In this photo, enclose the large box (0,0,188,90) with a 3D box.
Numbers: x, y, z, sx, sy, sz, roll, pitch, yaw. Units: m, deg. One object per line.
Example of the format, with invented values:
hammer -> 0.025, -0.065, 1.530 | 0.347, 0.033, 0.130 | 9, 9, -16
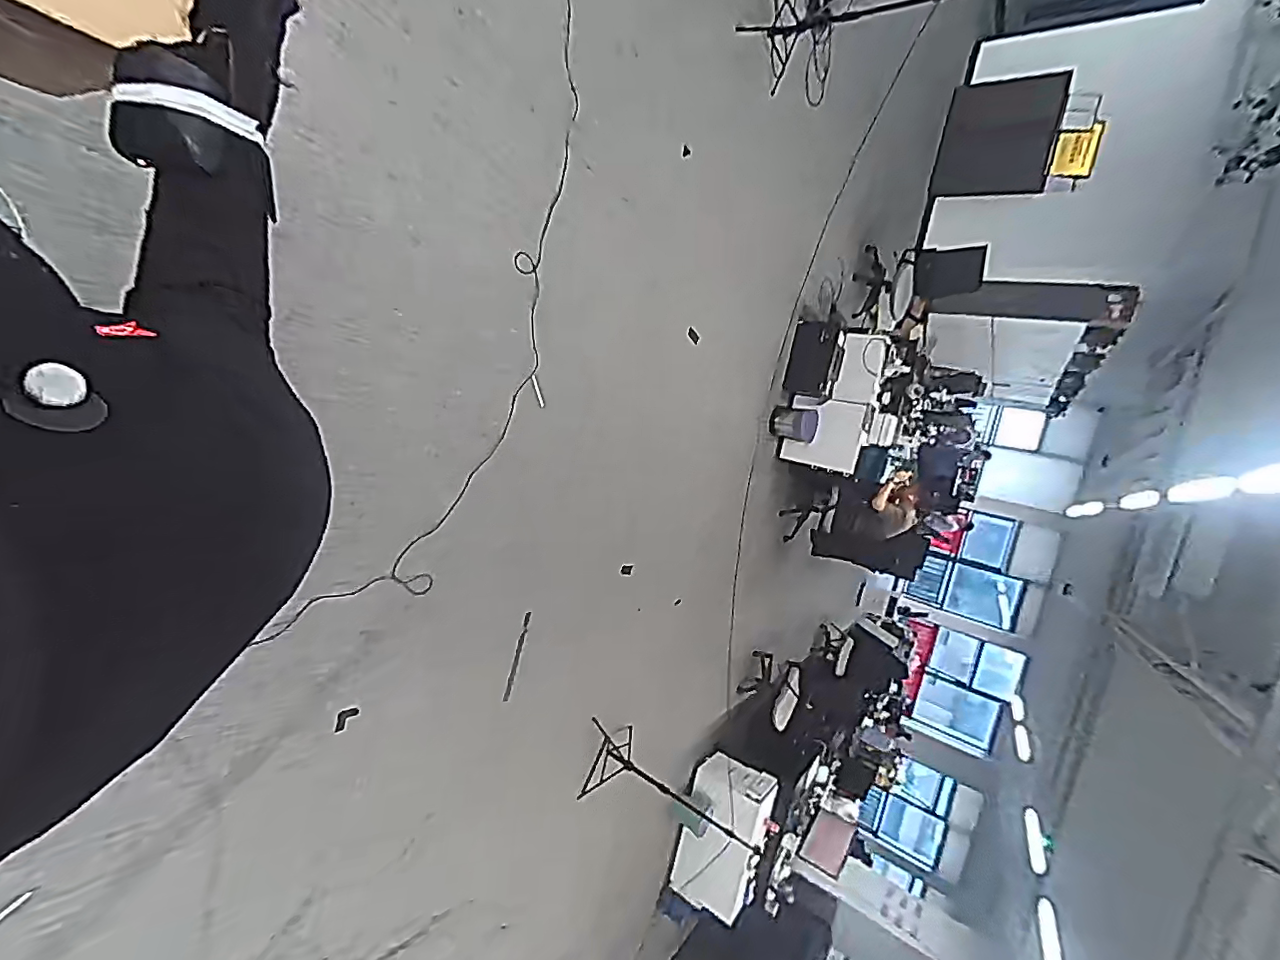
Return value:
large box -> -0.511, -0.458, 0.250 | 0.408, 0.320, 0.320 | -5, 114, -59
